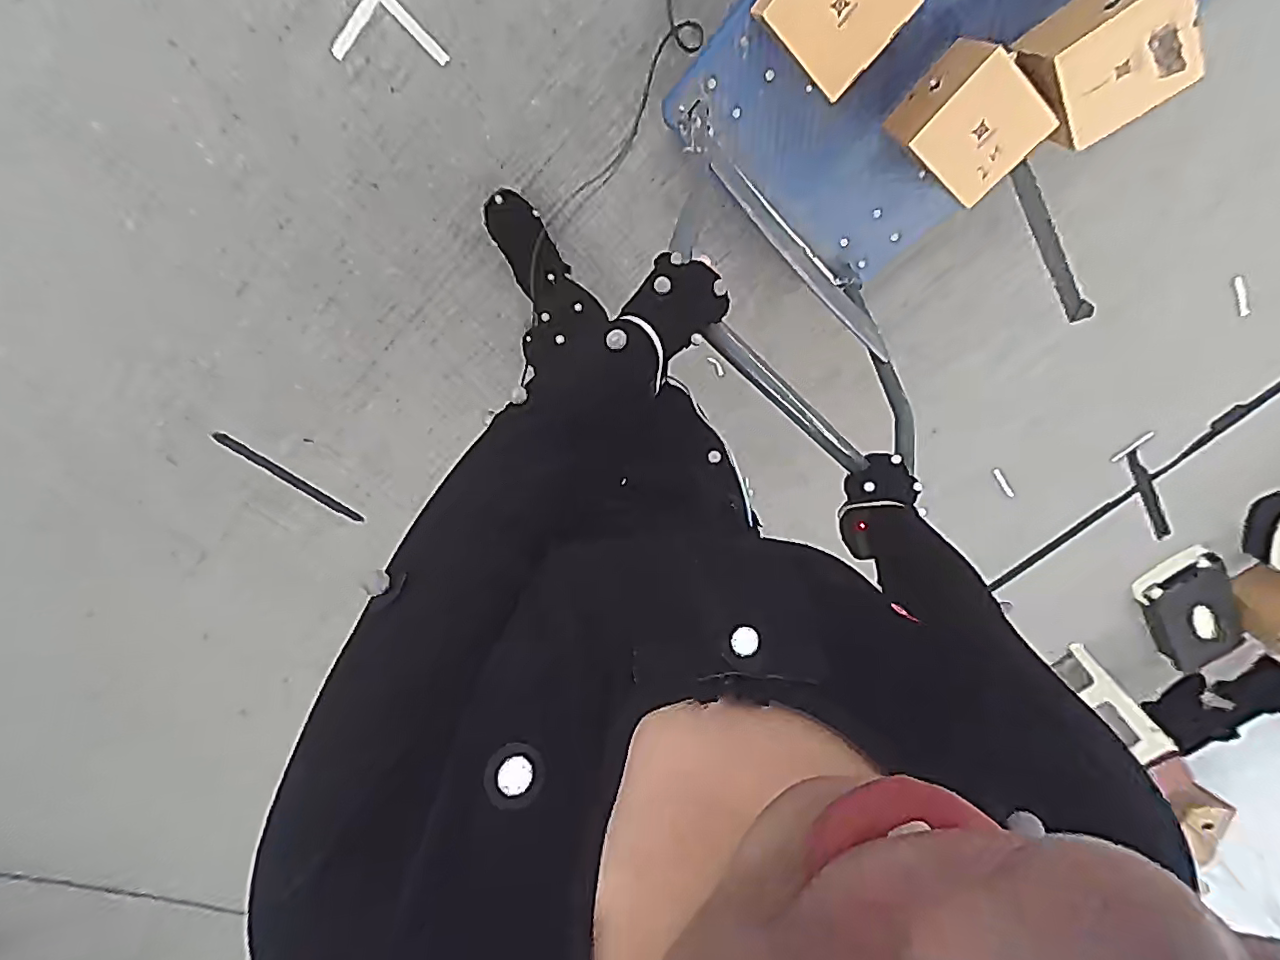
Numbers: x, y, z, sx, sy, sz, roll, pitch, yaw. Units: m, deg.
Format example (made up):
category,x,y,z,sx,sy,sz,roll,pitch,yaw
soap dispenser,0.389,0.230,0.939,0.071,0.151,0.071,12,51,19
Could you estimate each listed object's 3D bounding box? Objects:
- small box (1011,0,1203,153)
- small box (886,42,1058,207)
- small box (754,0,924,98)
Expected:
category,x,y,z,sx,sy,sz,roll,pitch,yaw
small box,0.751,-0.684,0.883,0.179,0.176,0.168,-28,125,27
small box,0.569,-0.626,0.951,0.179,0.176,0.168,30,128,-22
small box,0.301,-0.754,0.854,0.179,0.176,0.168,32,127,-25
